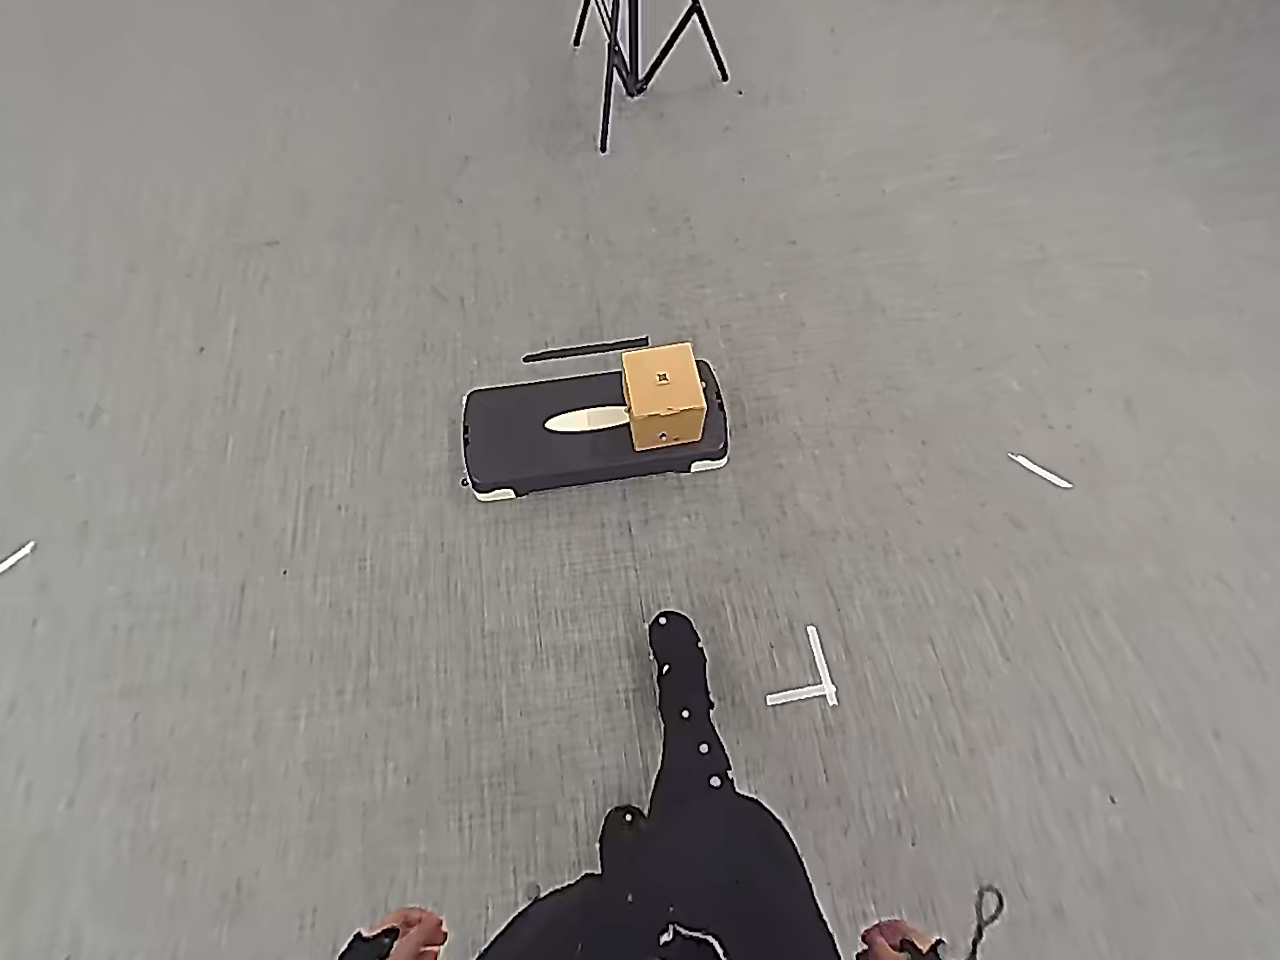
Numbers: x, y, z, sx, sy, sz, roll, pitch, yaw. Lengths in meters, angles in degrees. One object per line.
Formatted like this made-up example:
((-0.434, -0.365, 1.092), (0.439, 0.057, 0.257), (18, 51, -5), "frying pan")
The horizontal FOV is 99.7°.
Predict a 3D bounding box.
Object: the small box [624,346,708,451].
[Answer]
((0.055, -0.190, 1.291), (0.168, 0.176, 0.179), (-10, 69, -4), "small box")
